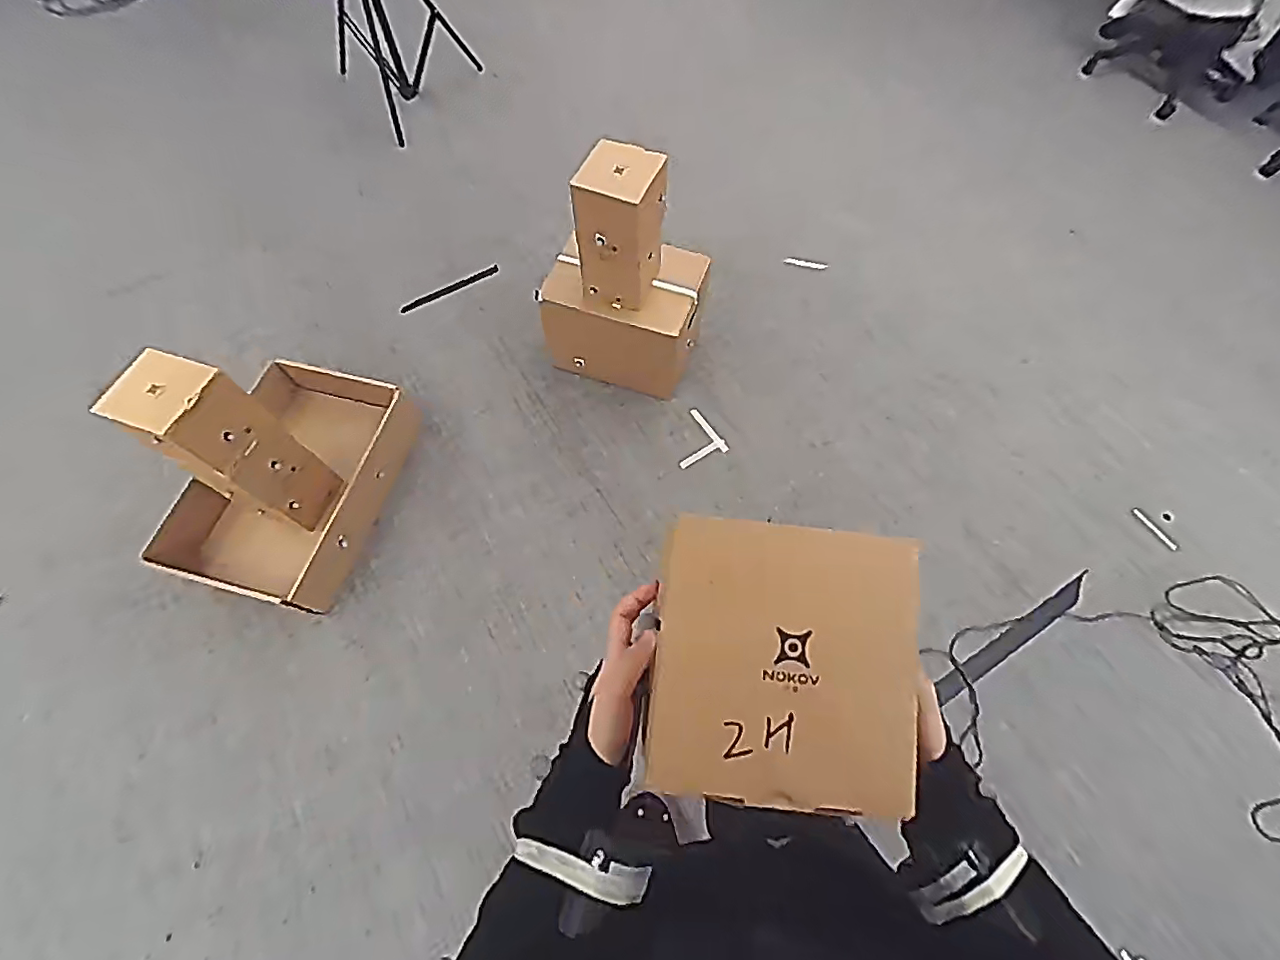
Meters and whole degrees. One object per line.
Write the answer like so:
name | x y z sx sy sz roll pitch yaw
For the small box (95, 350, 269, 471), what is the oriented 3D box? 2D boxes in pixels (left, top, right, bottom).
small box | -0.936 -0.138 1.125 0.179 0.176 0.168 16 65 7

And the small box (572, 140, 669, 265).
small box | -0.044 -0.644 1.265 0.168 0.176 0.179 20 67 9

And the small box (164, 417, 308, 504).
small box | -0.931 -0.060 1.269 0.179 0.176 0.168 17 65 7

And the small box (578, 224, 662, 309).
small box | -0.047 -0.581 1.415 0.168 0.176 0.179 19 65 7

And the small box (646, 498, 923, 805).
small box | 0.096 0.121 0.427 0.168 0.176 0.179 7 80 0
